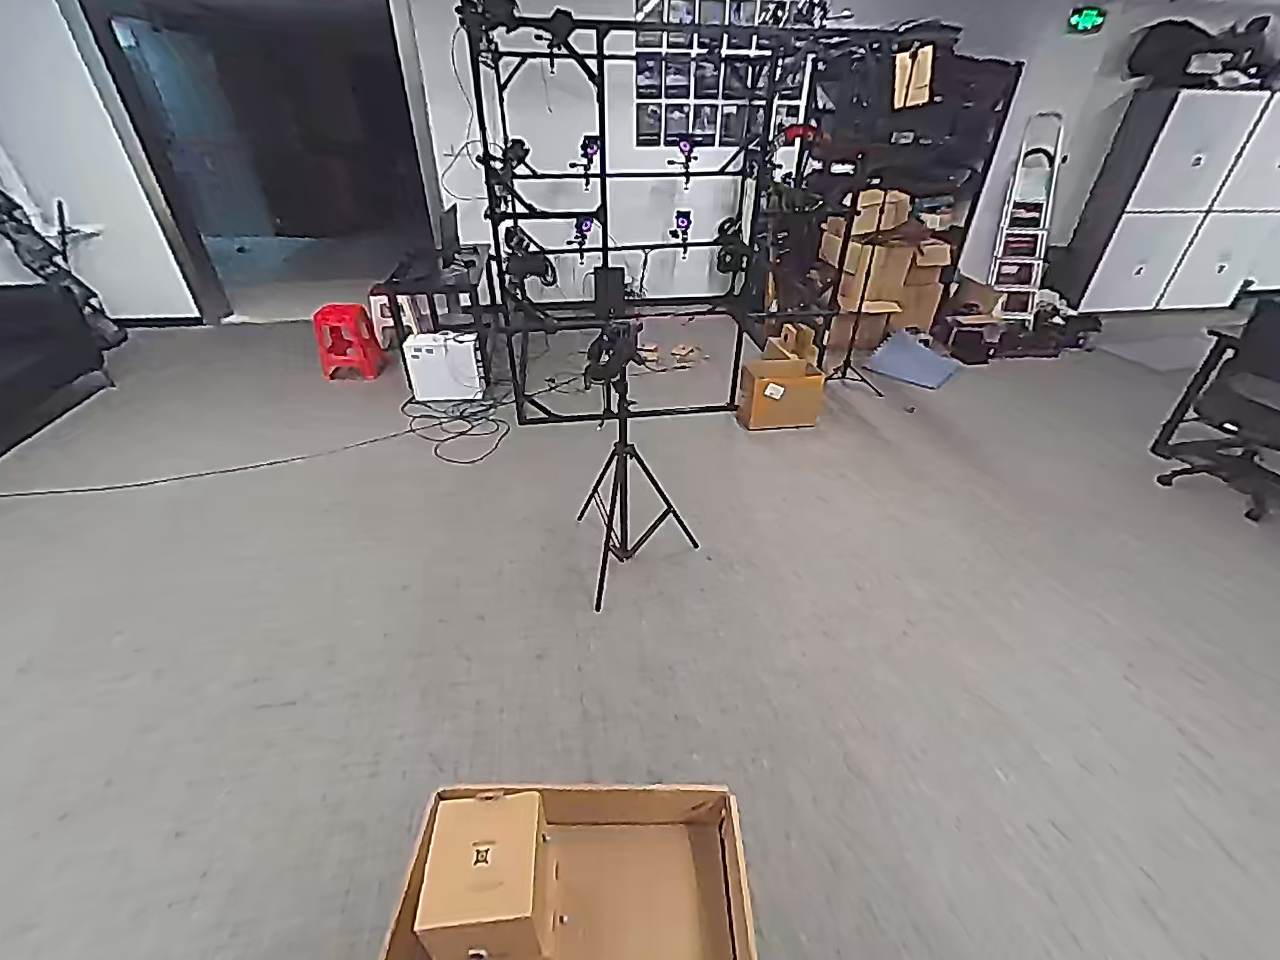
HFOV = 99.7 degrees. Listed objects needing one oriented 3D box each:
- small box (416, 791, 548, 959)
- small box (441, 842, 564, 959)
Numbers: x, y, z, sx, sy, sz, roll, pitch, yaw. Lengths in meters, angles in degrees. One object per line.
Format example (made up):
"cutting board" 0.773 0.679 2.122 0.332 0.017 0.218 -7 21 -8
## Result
"small box" -0.241 0.640 0.874 0.168 0.176 0.179 -3 33 -4
"small box" -0.233 0.777 0.965 0.179 0.176 0.168 0 34 -3
